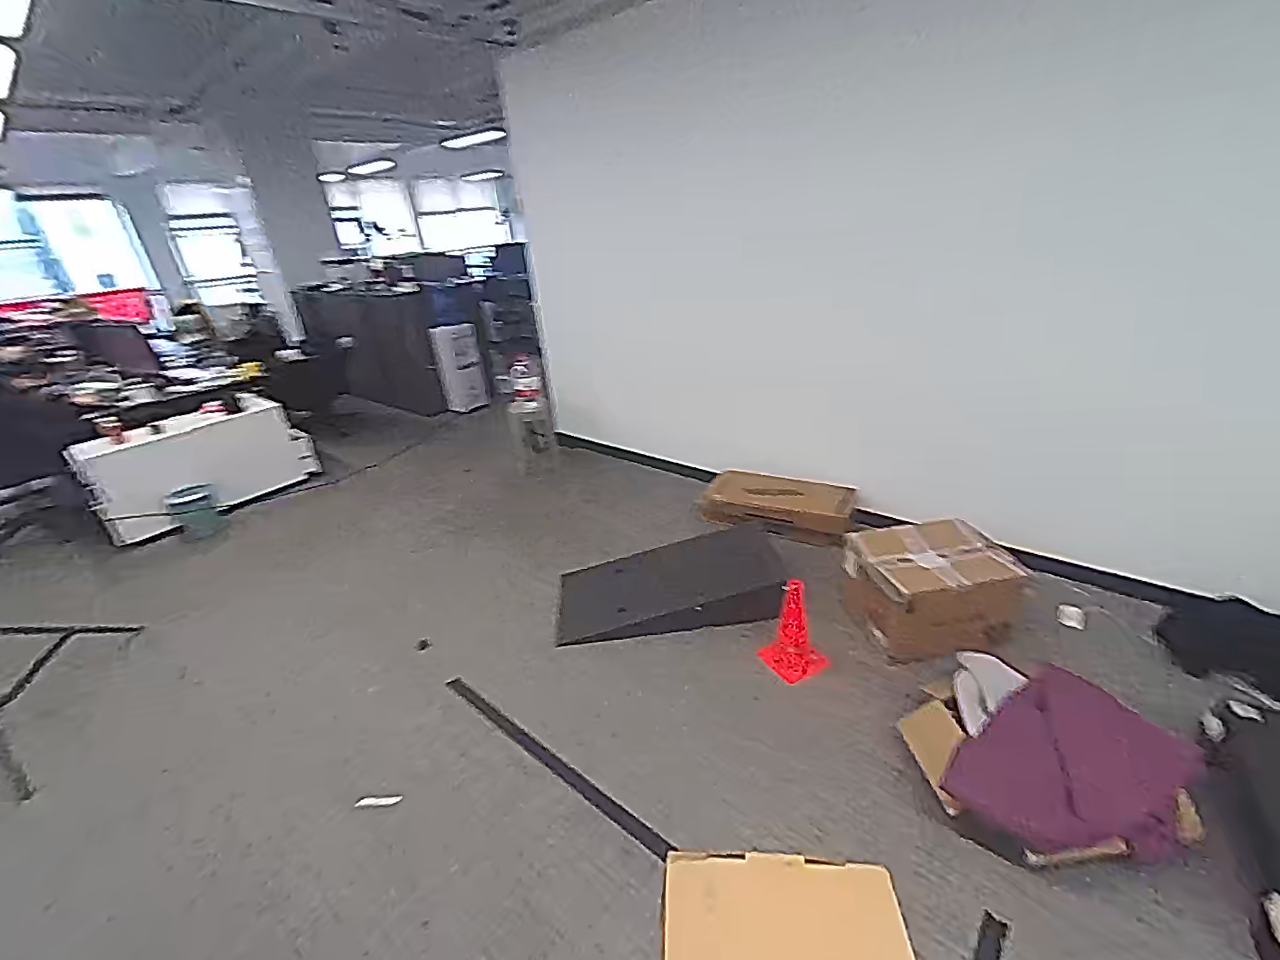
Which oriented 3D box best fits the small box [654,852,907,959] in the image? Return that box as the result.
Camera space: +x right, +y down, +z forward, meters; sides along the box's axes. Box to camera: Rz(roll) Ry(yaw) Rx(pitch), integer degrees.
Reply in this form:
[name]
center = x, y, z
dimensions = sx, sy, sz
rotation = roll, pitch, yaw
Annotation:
[small box]
center = 0.091, 0.398, 0.372
dimensions = 0.168, 0.176, 0.179
rotation = 2, 30, 2
